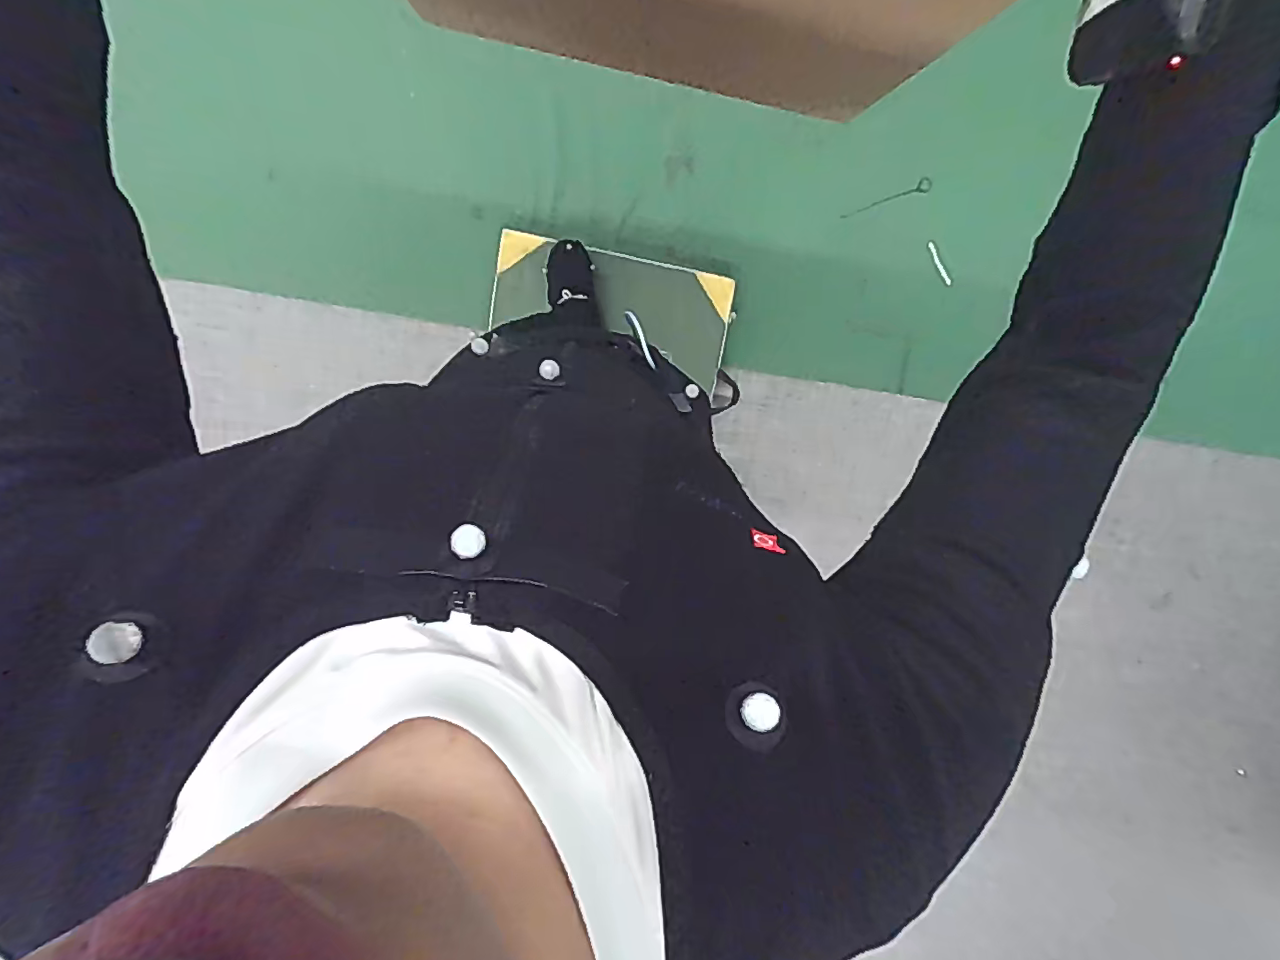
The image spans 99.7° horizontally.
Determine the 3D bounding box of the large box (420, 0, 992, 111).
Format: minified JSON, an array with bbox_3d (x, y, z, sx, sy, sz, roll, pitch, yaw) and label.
[{"bbox_3d":[0.037,-0.470,0.314,0.408,0.320,0.320,9,111,-5],"label":"large box"}]
